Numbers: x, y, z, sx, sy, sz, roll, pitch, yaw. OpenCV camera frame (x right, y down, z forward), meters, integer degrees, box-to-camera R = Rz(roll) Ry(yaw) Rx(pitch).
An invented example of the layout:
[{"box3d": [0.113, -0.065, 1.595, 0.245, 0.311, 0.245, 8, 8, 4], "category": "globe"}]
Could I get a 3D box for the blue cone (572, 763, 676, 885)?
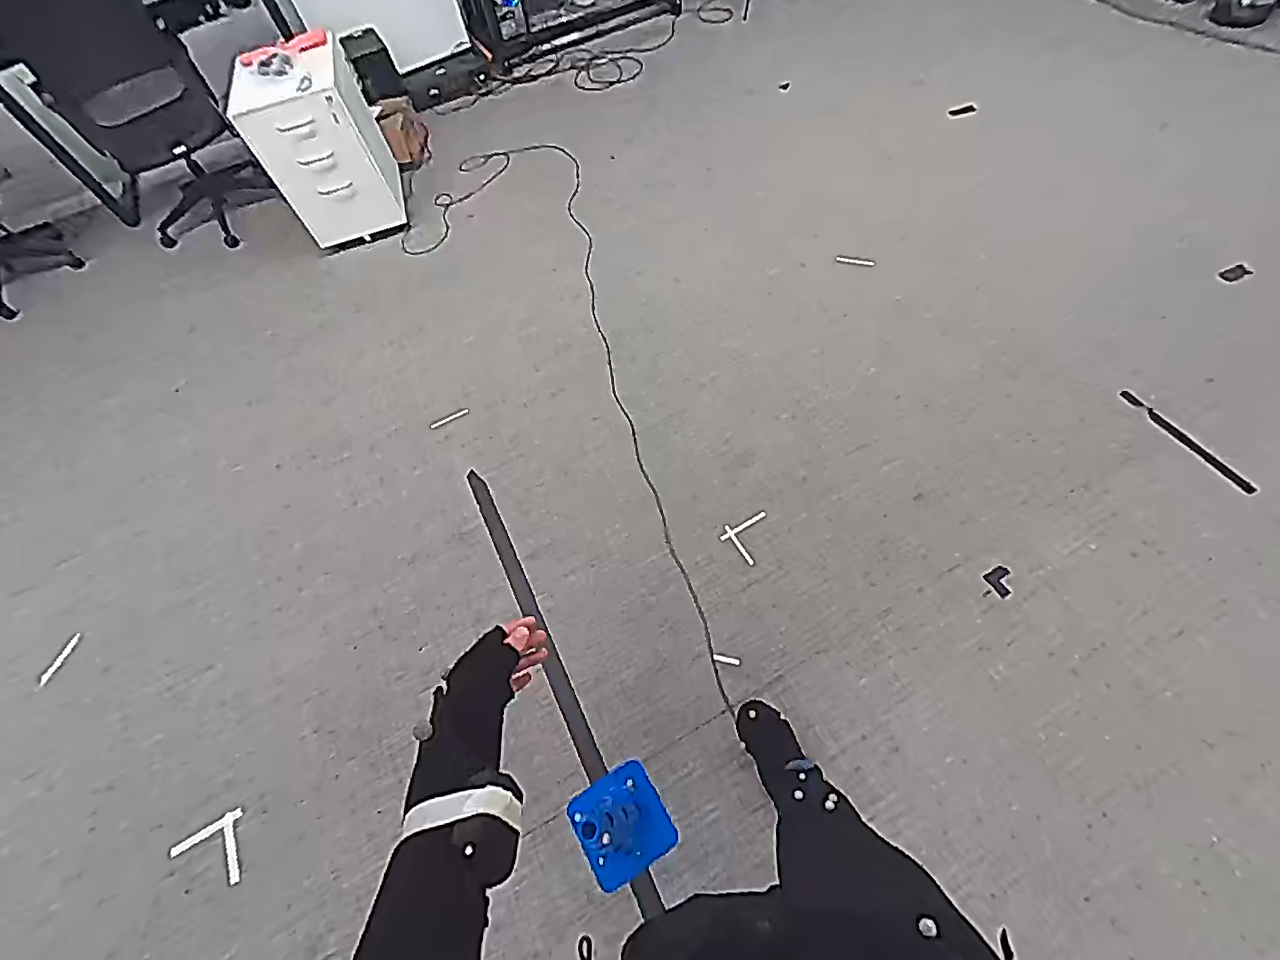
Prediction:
[{"box3d": [-0.064, 0.677, 1.062, 0.192, 0.380, 0.193, -32, 60, -10], "category": "blue cone"}]
